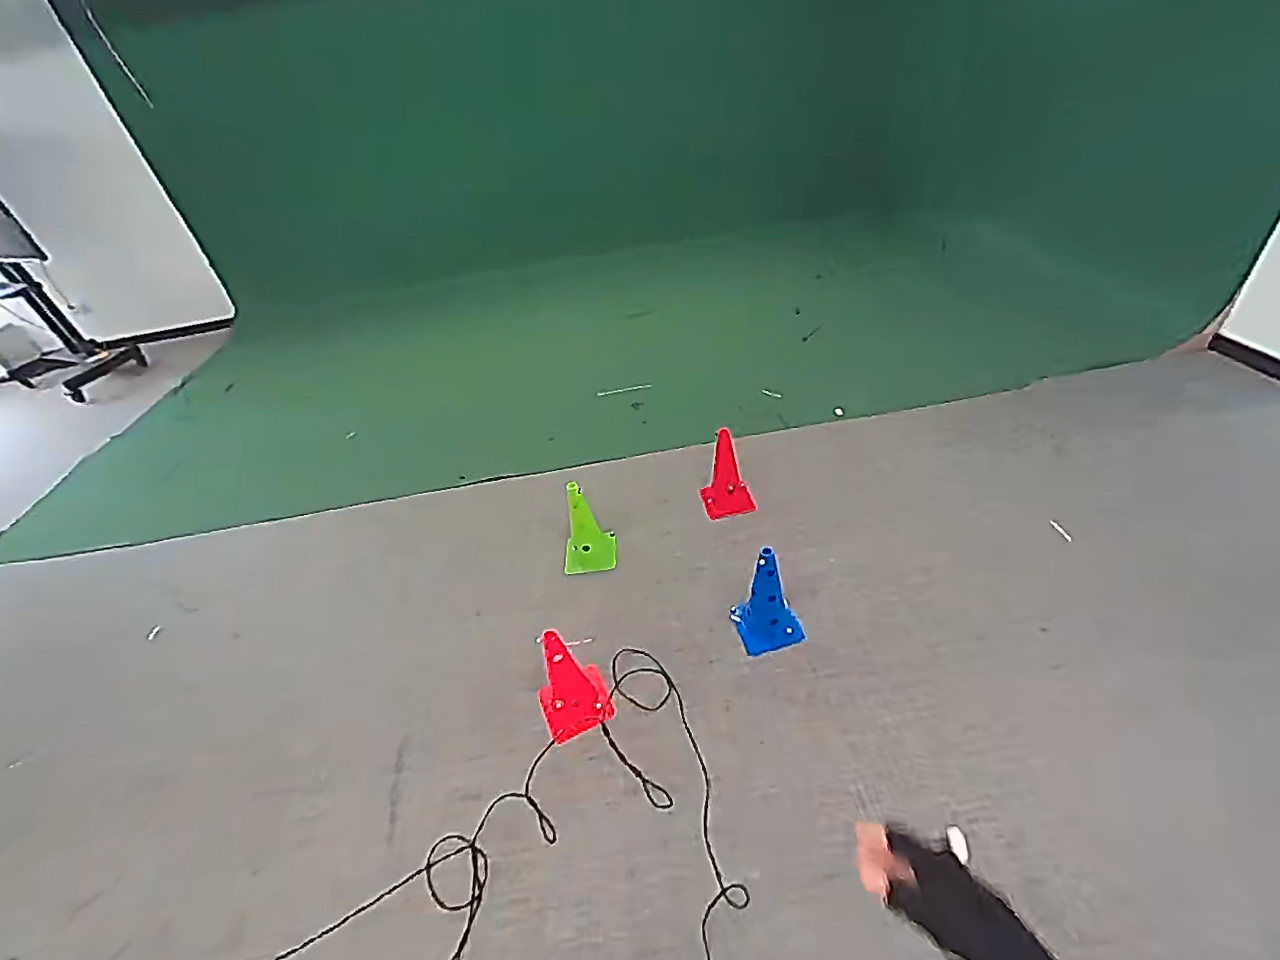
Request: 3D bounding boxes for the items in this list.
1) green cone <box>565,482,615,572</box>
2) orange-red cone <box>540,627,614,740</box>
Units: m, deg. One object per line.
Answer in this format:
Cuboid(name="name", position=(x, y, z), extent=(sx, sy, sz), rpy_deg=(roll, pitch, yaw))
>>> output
Cuboid(name="green cone", position=(-0.223, 0.151, 2.036), extent=(0.200, 0.368, 0.202), rpy_deg=(-9, 40, 2))
Cuboid(name="orange-red cone", position=(-0.219, 0.545, 1.556), extent=(0.198, 0.360, 0.199), rpy_deg=(-21, 38, -15))
